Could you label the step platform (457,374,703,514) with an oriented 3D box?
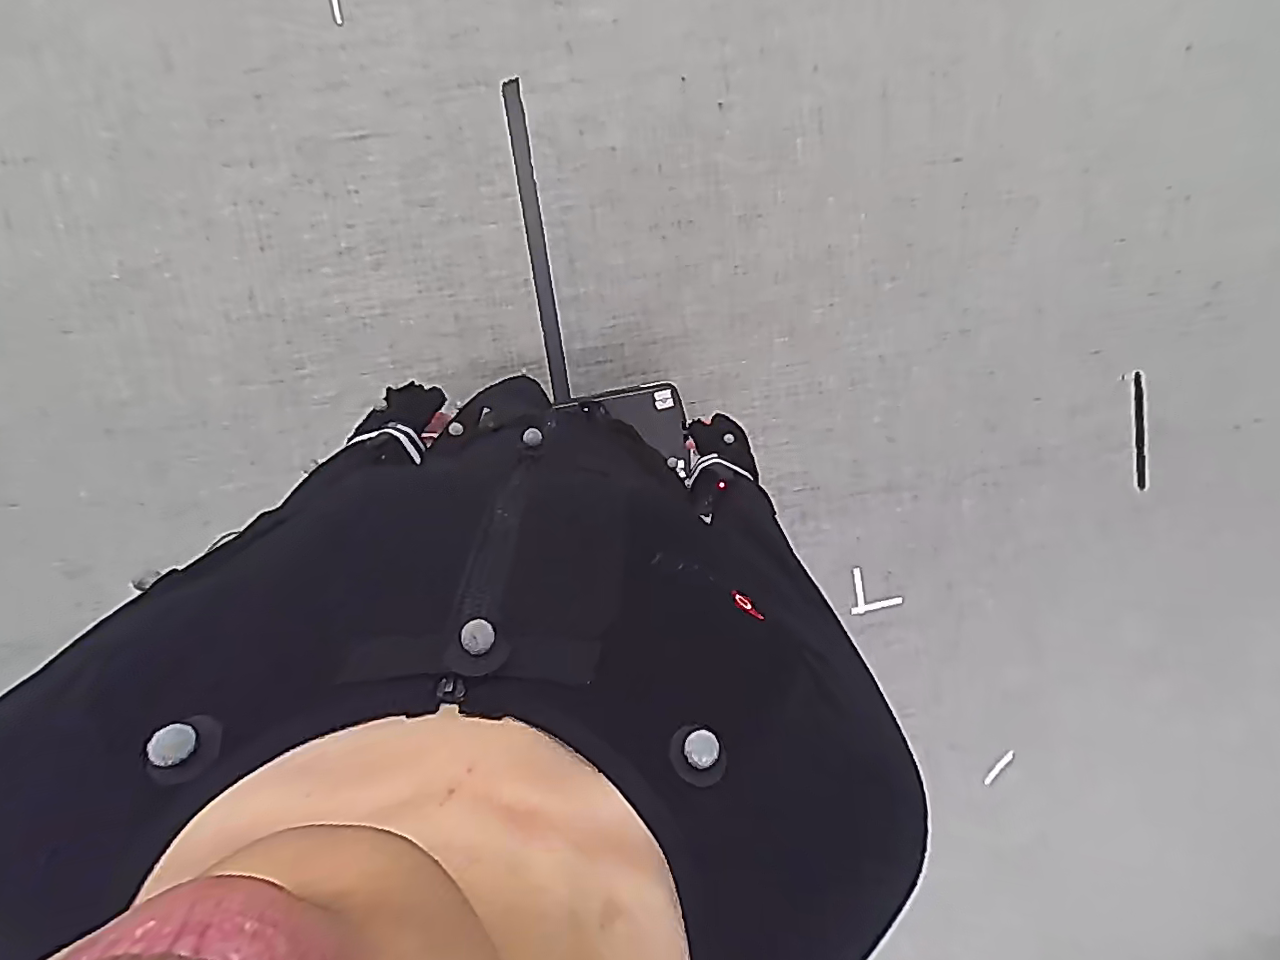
[{"bbox_3d":[-0.164,-0.108,1.551,0.684,0.204,0.286,-12,100,-3],"label":"step platform"}]
